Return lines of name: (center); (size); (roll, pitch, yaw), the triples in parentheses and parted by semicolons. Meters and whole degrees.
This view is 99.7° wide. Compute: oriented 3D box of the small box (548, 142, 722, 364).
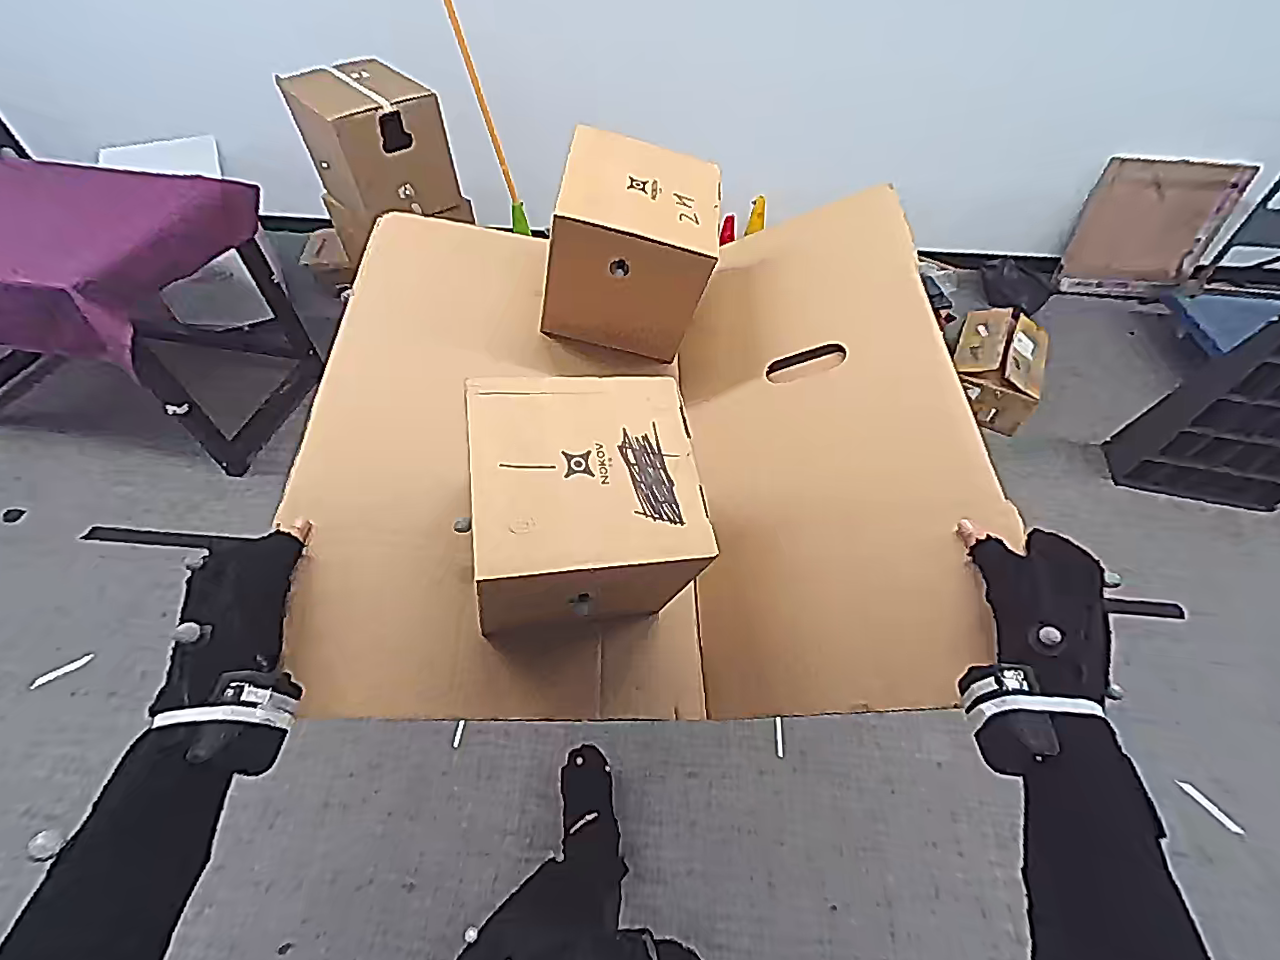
small box: (-0.011, -0.269, 0.669); (0.179, 0.176, 0.168); (12, 60, -10)

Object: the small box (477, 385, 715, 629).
small box: (-0.055, 0.030, 0.494); (0.179, 0.176, 0.168); (-3, 63, -16)
